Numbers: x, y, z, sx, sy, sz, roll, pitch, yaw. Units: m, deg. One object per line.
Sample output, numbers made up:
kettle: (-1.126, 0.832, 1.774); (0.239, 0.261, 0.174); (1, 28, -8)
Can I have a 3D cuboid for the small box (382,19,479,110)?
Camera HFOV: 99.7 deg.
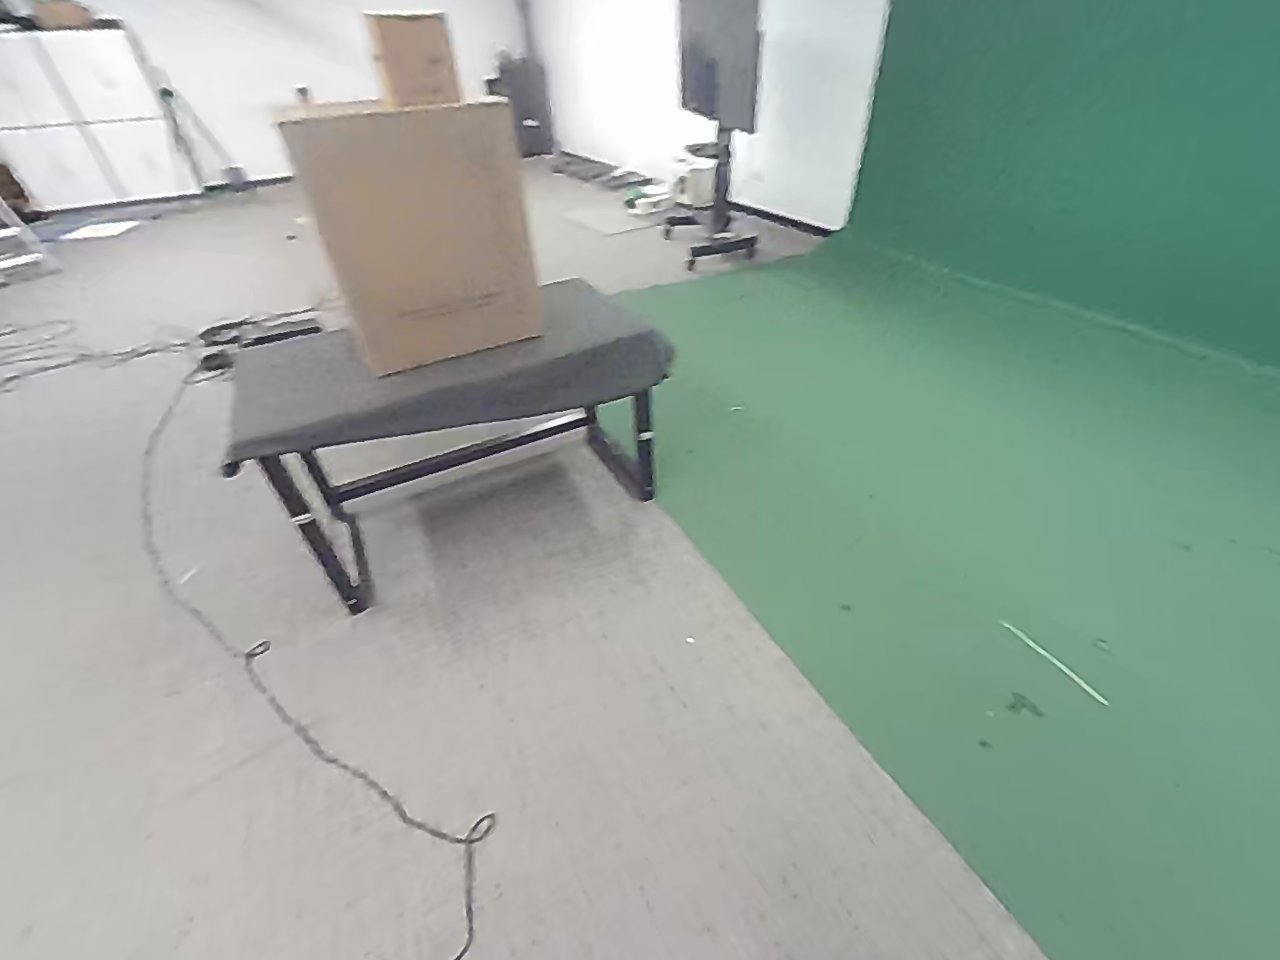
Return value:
small box: (-0.504, -1.005, 1.311); (0.168, 0.176, 0.179); (-19, 42, -22)
